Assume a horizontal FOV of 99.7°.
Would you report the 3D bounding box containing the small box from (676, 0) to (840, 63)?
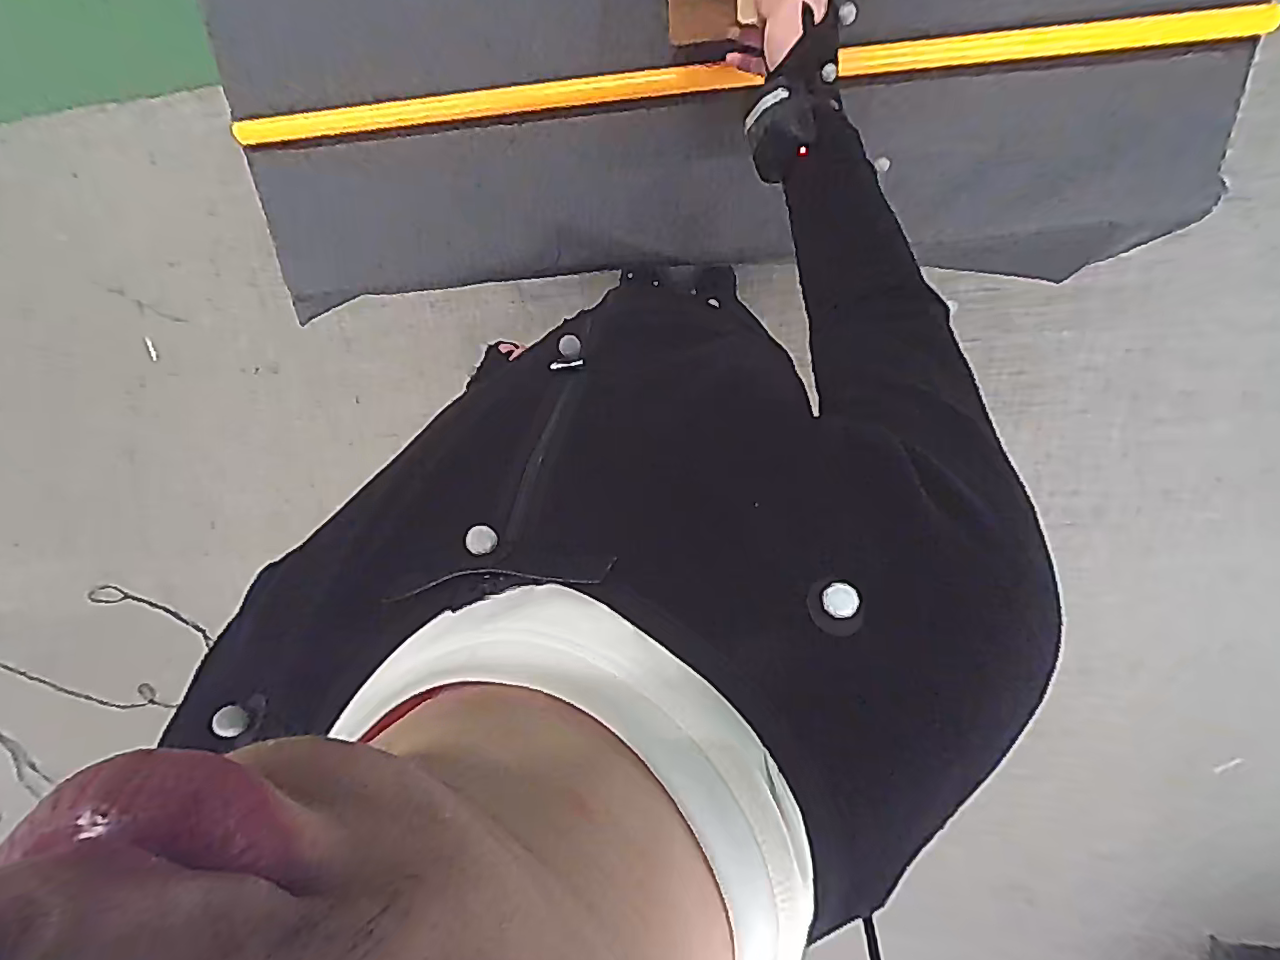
[{"bbox_3d":[0.114,-0.546,0.532,0.168,0.176,0.179,-5,110,8],"label":"small box"}]
